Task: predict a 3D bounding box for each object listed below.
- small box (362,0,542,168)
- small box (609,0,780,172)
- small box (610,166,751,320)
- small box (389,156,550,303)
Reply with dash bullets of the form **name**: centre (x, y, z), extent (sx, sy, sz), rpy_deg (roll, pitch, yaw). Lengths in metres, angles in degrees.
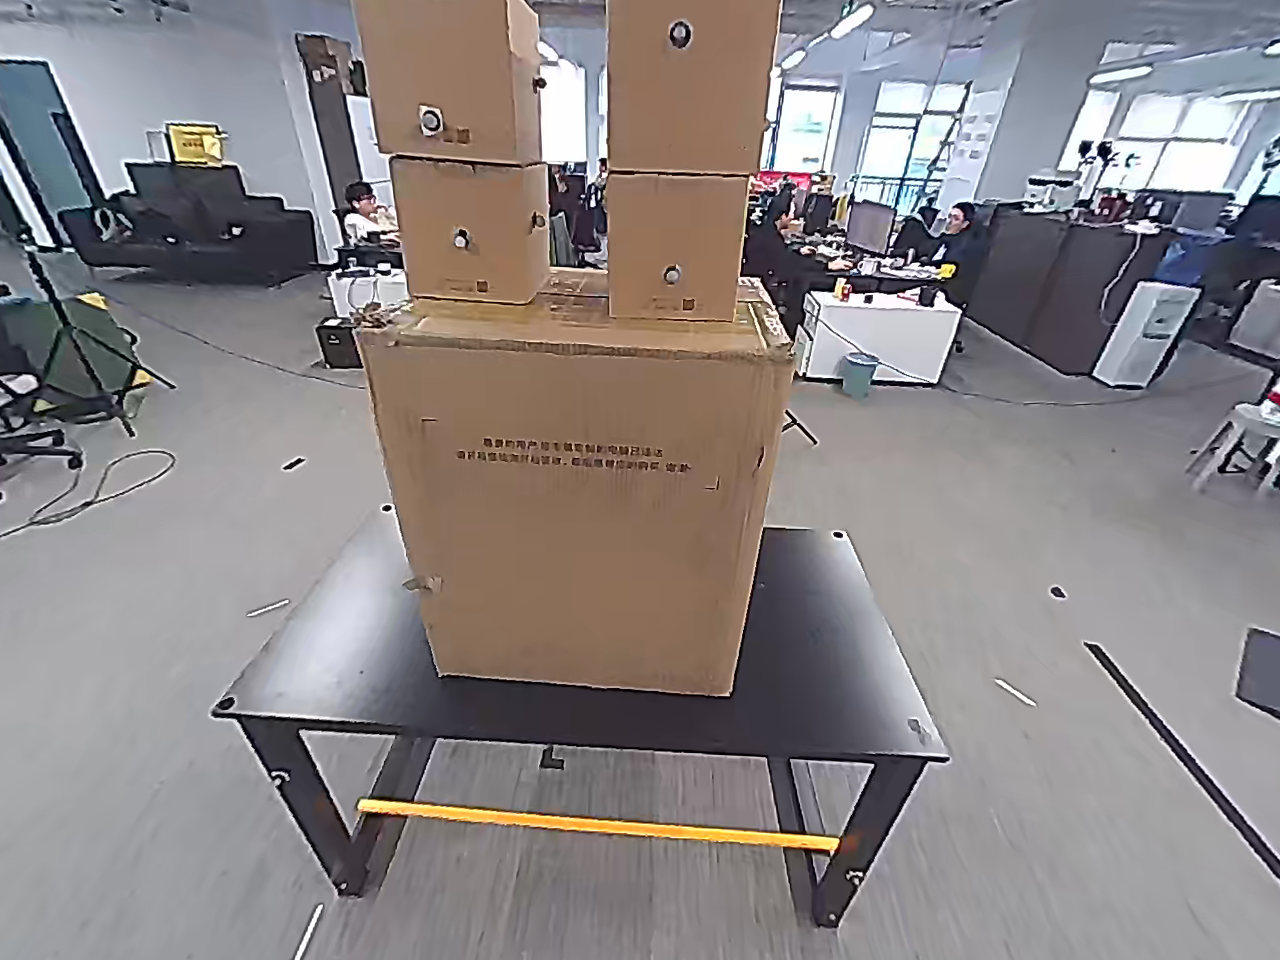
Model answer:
- **small box**: centre (-0.215, -0.488, 0.664), extent (0.168, 0.176, 0.179), rpy_deg (2, 32, -1)
- **small box**: centre (0.057, -0.461, 0.637), extent (0.179, 0.176, 0.168), rpy_deg (3, 32, 1)
- **small box**: centre (0.048, -0.324, 0.729), extent (0.168, 0.176, 0.179), rpy_deg (2, 32, 2)
- **small box**: centre (-0.222, -0.357, 0.762), extent (0.168, 0.176, 0.179), rpy_deg (4, 32, -1)
